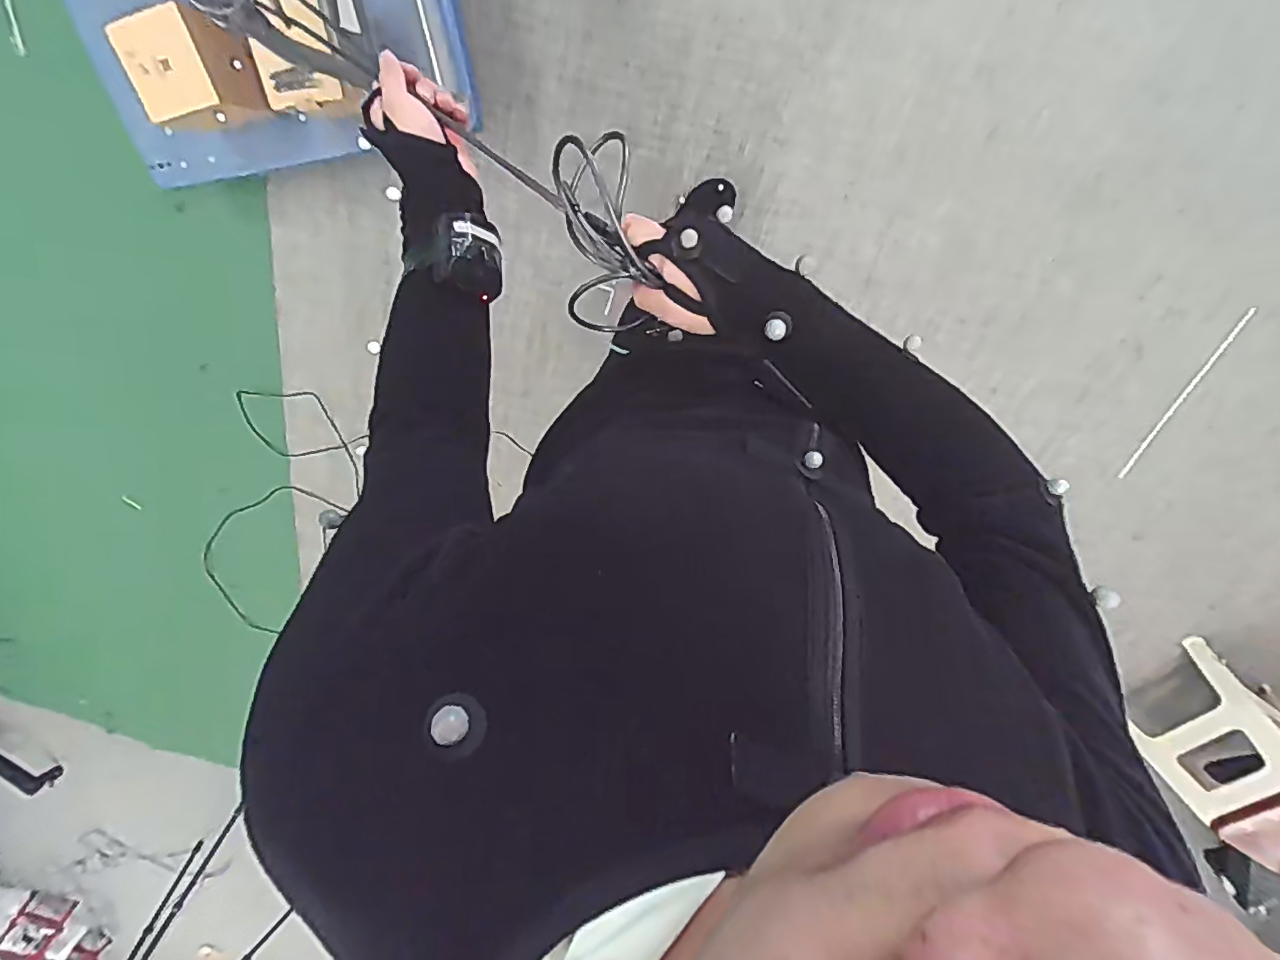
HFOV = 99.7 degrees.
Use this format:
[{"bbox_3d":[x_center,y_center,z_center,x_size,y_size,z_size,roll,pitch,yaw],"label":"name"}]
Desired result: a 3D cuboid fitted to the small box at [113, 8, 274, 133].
[{"bbox_3d":[-0.924,-0.853,1.144,0.179,0.176,0.168,-6,116,12],"label":"small box"}]
